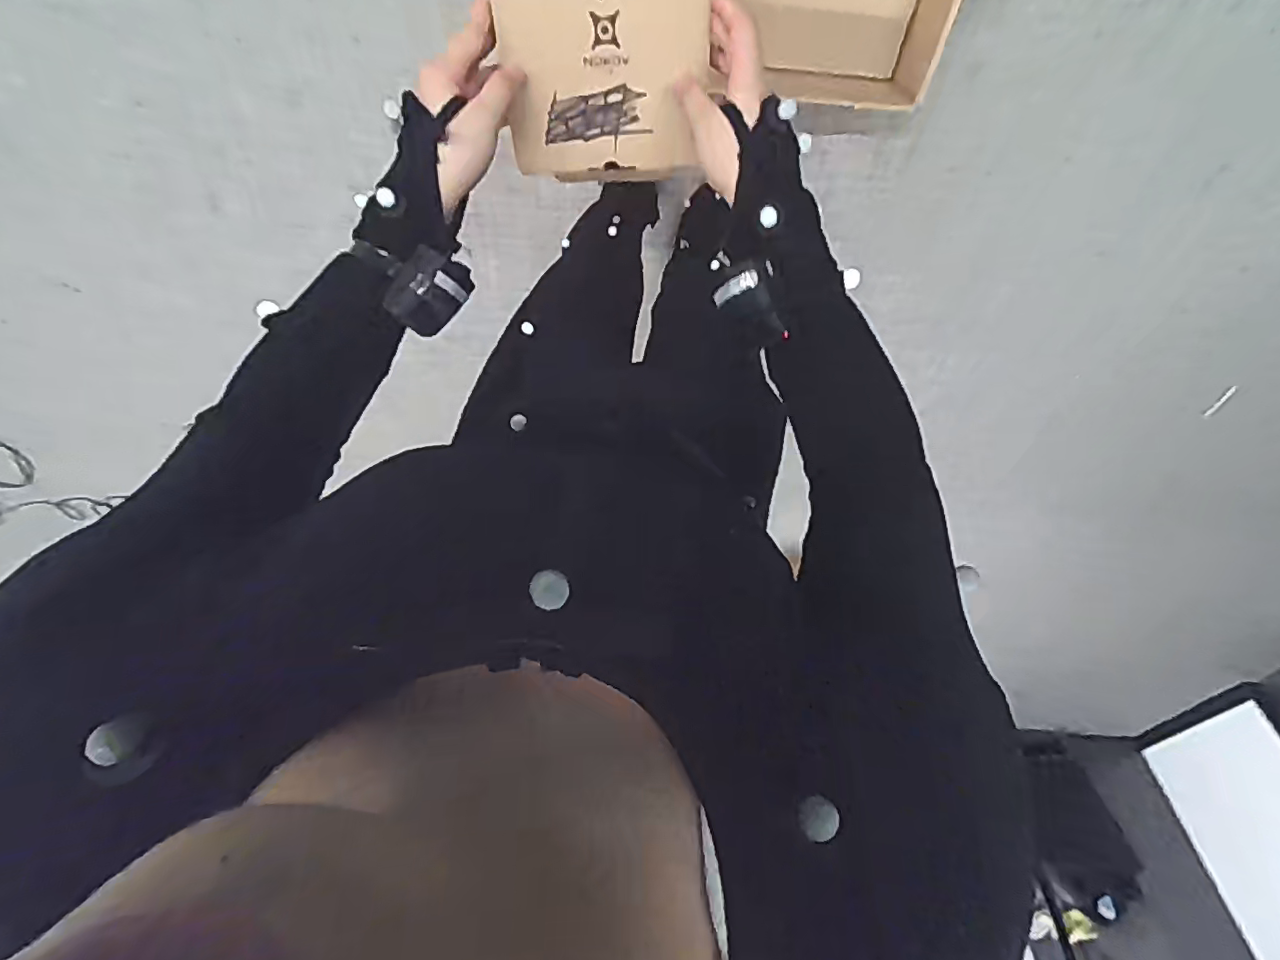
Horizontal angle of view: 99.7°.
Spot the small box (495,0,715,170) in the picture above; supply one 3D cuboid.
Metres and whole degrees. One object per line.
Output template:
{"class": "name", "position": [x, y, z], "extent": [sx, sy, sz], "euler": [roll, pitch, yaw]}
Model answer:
{"class": "small box", "position": [-0.028, -0.393, 0.472], "extent": [0.168, 0.176, 0.179], "euler": [-2, 134, -1]}
